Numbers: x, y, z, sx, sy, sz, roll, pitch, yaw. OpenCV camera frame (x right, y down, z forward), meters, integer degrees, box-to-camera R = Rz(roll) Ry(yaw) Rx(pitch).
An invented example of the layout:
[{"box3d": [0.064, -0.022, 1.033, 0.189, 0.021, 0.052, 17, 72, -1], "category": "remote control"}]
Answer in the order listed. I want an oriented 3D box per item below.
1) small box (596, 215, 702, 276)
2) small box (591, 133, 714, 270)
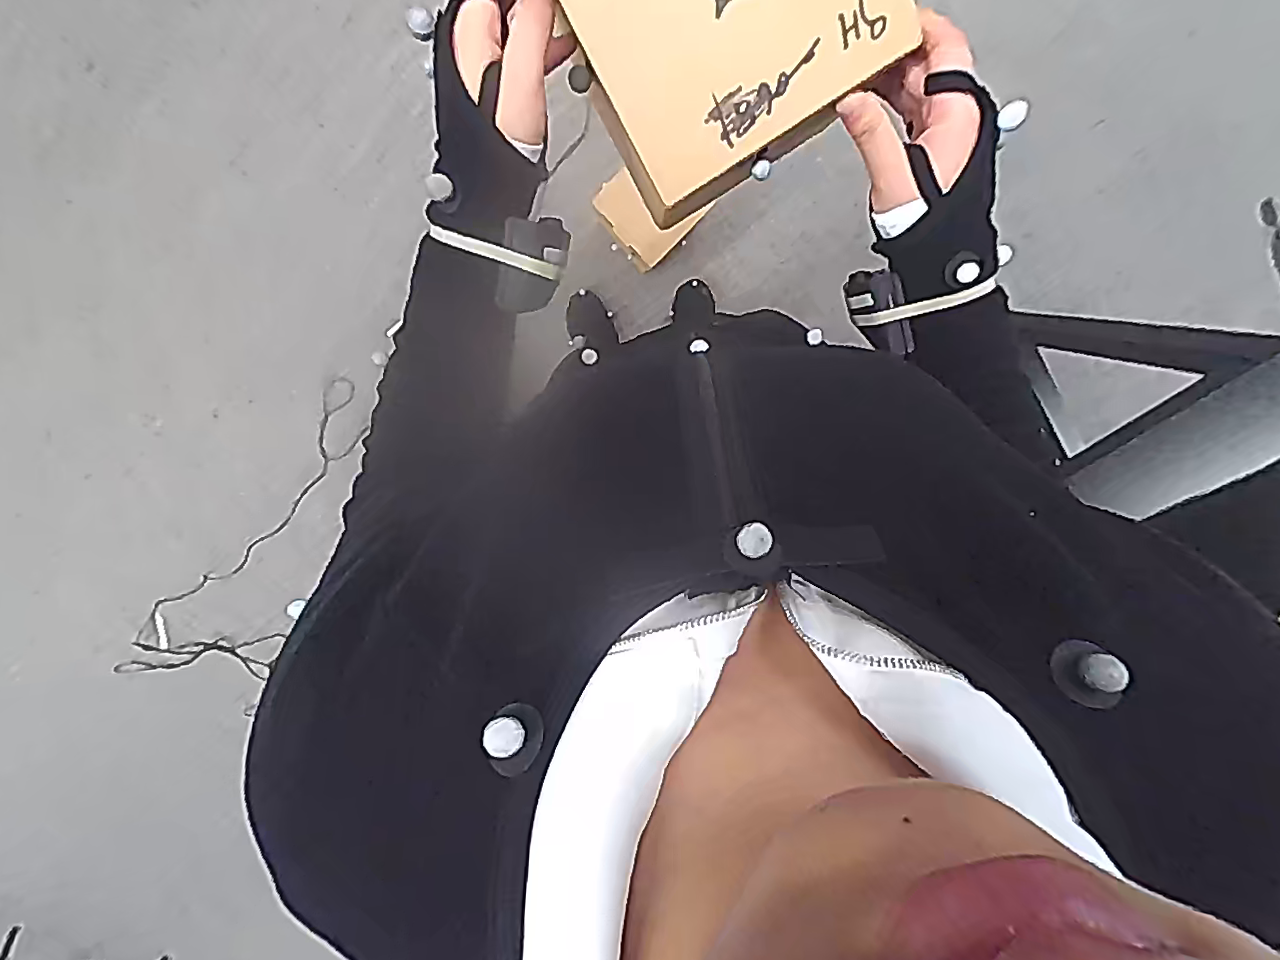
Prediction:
[{"box3d": [0.017, -0.593, 1.240, 0.179, 0.176, 0.168, -39, 106, 13], "category": "small box"}, {"box3d": [0.024, -0.543, 1.086, 0.179, 0.176, 0.168, -43, 106, 12], "category": "small box"}]
